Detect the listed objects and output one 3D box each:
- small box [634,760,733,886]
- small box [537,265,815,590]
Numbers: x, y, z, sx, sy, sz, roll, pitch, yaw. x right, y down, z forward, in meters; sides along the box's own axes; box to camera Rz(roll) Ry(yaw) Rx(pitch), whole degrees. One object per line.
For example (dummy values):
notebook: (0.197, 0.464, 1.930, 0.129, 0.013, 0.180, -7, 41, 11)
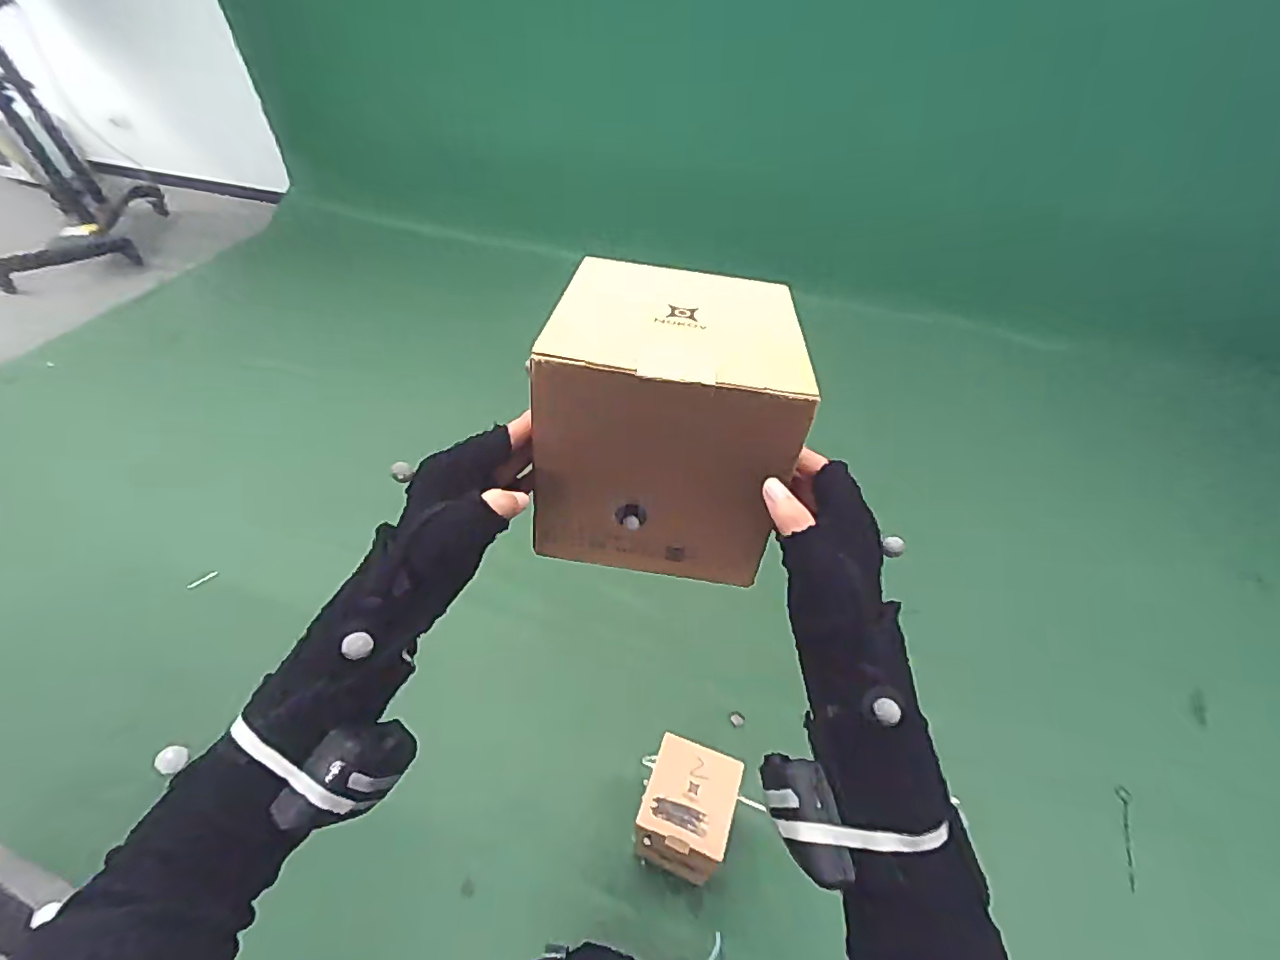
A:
small box: (0.095, 0.762, 1.196, 0.168, 0.176, 0.179, 17, 49, 14)
small box: (0.019, -0.043, 0.422, 0.168, 0.176, 0.179, 9, 41, 0)
